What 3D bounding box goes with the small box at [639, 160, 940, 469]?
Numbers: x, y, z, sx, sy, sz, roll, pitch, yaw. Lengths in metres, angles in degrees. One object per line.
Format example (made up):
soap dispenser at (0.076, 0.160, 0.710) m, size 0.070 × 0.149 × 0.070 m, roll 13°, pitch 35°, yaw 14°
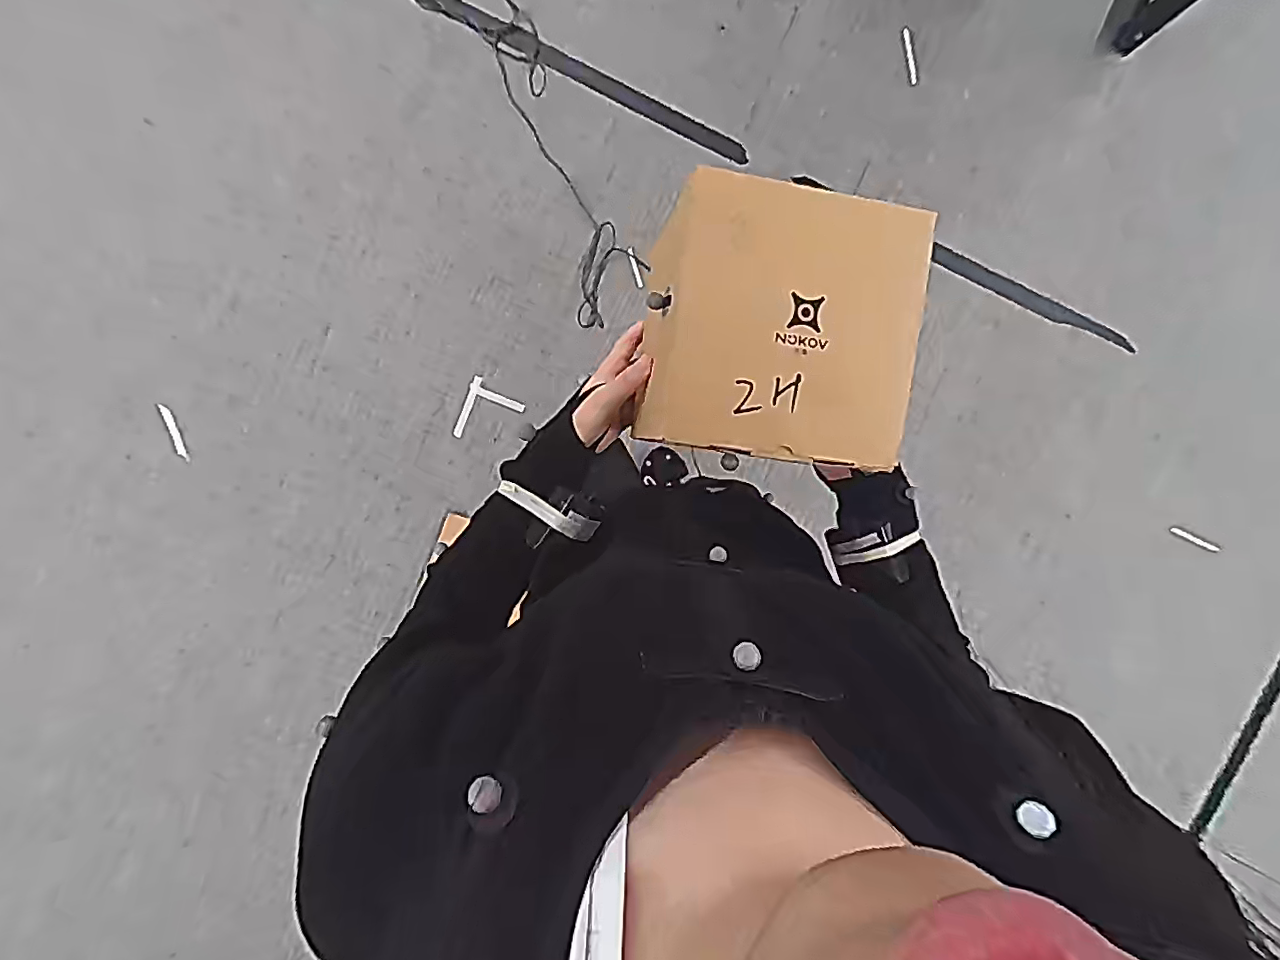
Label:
small box at (0.097, -0.109, 0.429) m, size 0.168 × 0.176 × 0.179 m, roll 7°, pitch 94°, yaw -8°
